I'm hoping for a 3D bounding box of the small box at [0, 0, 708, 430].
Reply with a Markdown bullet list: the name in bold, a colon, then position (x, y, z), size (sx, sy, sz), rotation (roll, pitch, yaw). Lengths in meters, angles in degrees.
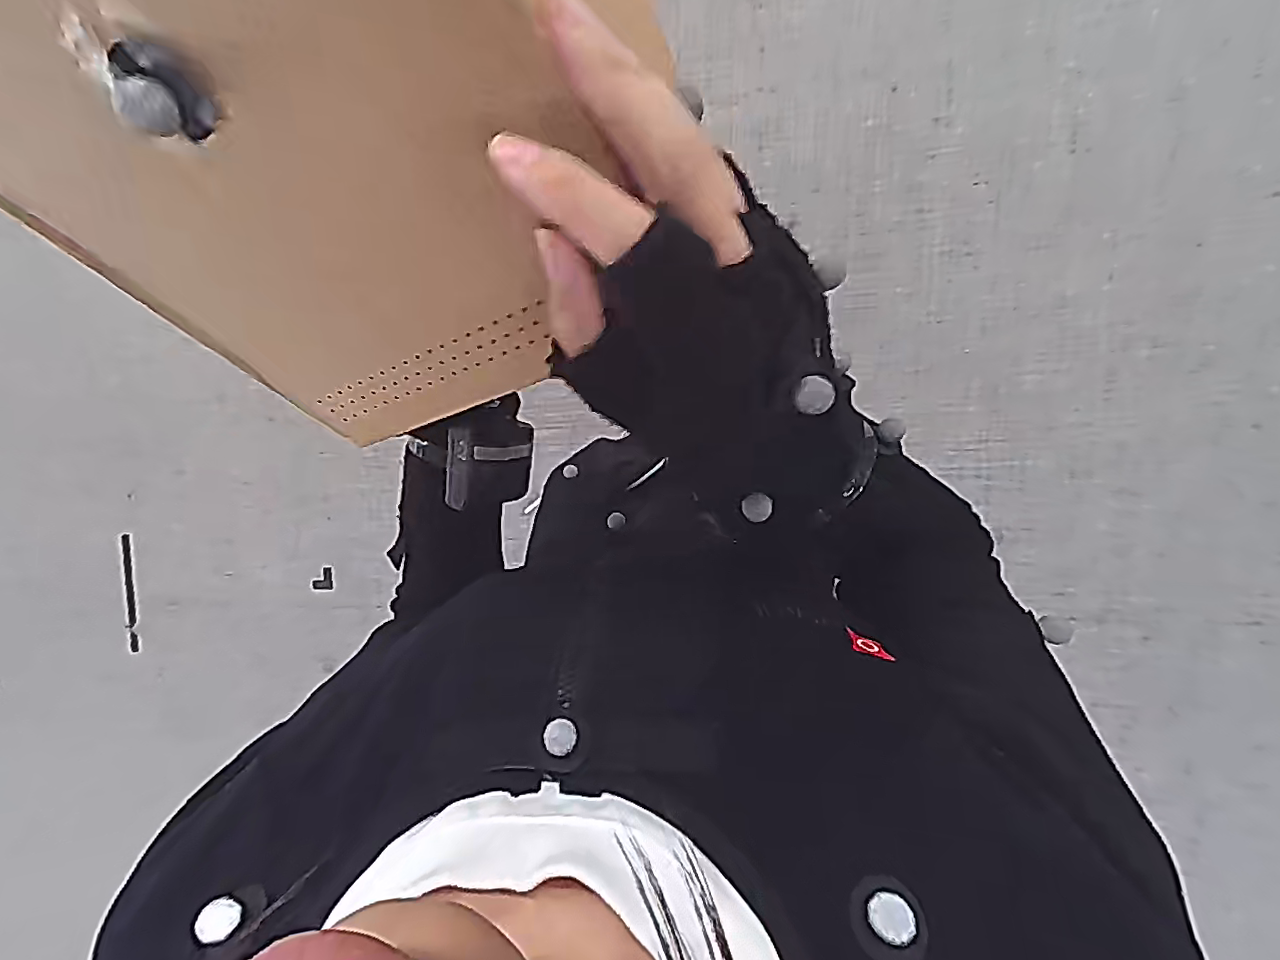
- **small box**: position (-0.087, -0.143, 0.212), size (0.179, 0.176, 0.168), rotation (-15, 53, 23)
